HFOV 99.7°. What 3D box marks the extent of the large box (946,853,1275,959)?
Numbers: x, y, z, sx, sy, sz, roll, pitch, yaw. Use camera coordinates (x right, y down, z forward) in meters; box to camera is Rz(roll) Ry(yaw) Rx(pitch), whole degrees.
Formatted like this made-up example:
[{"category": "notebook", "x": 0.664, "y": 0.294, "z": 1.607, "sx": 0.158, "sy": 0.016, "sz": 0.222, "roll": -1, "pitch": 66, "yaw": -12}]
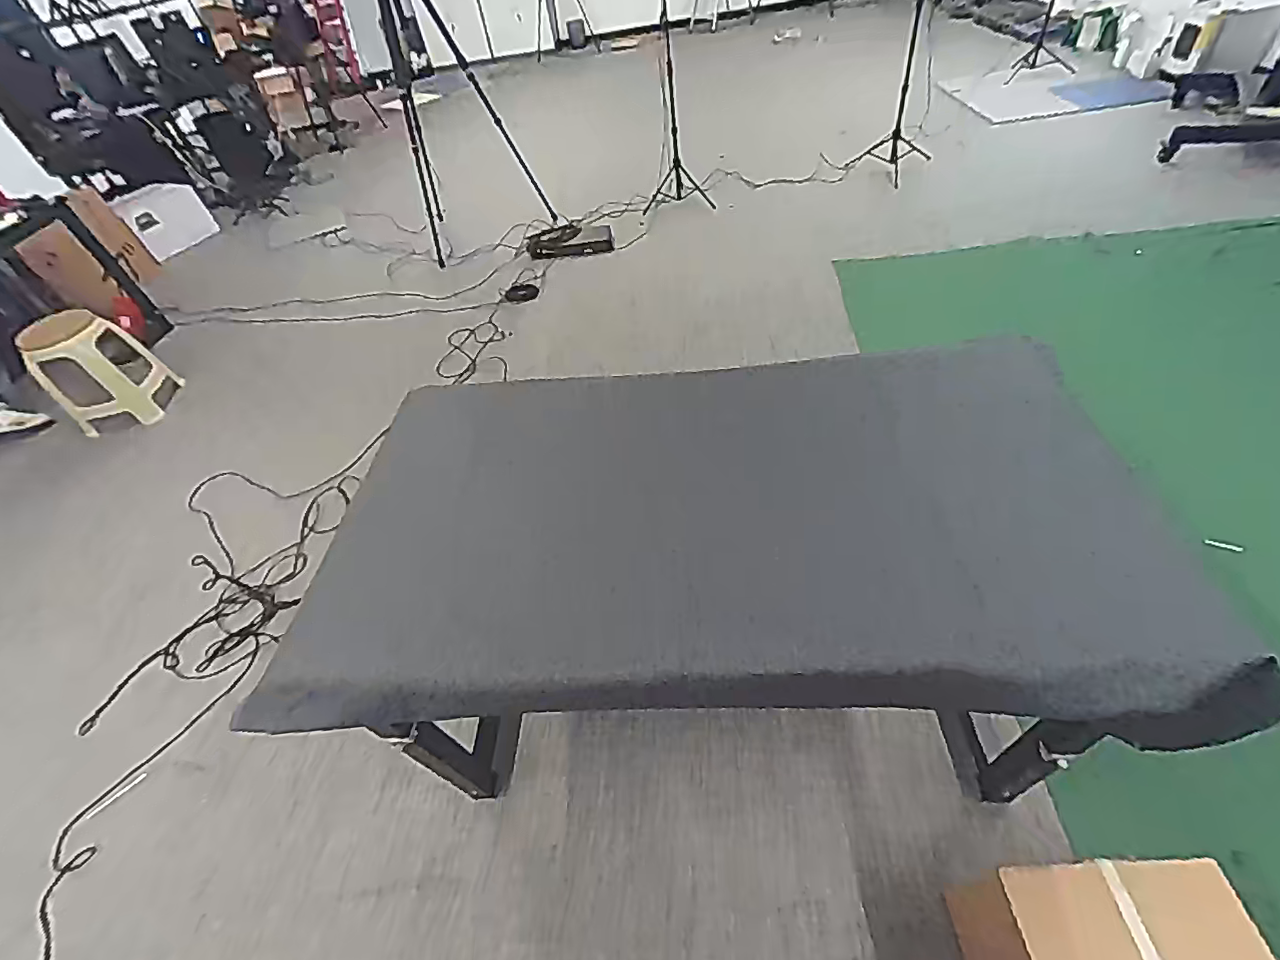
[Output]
[{"category": "large box", "x": 0.723, "y": 0.817, "z": 0.793, "sx": 0.320, "sy": 0.320, "sz": 0.408, "roll": -7, "pitch": 47, "yaw": 5}]
